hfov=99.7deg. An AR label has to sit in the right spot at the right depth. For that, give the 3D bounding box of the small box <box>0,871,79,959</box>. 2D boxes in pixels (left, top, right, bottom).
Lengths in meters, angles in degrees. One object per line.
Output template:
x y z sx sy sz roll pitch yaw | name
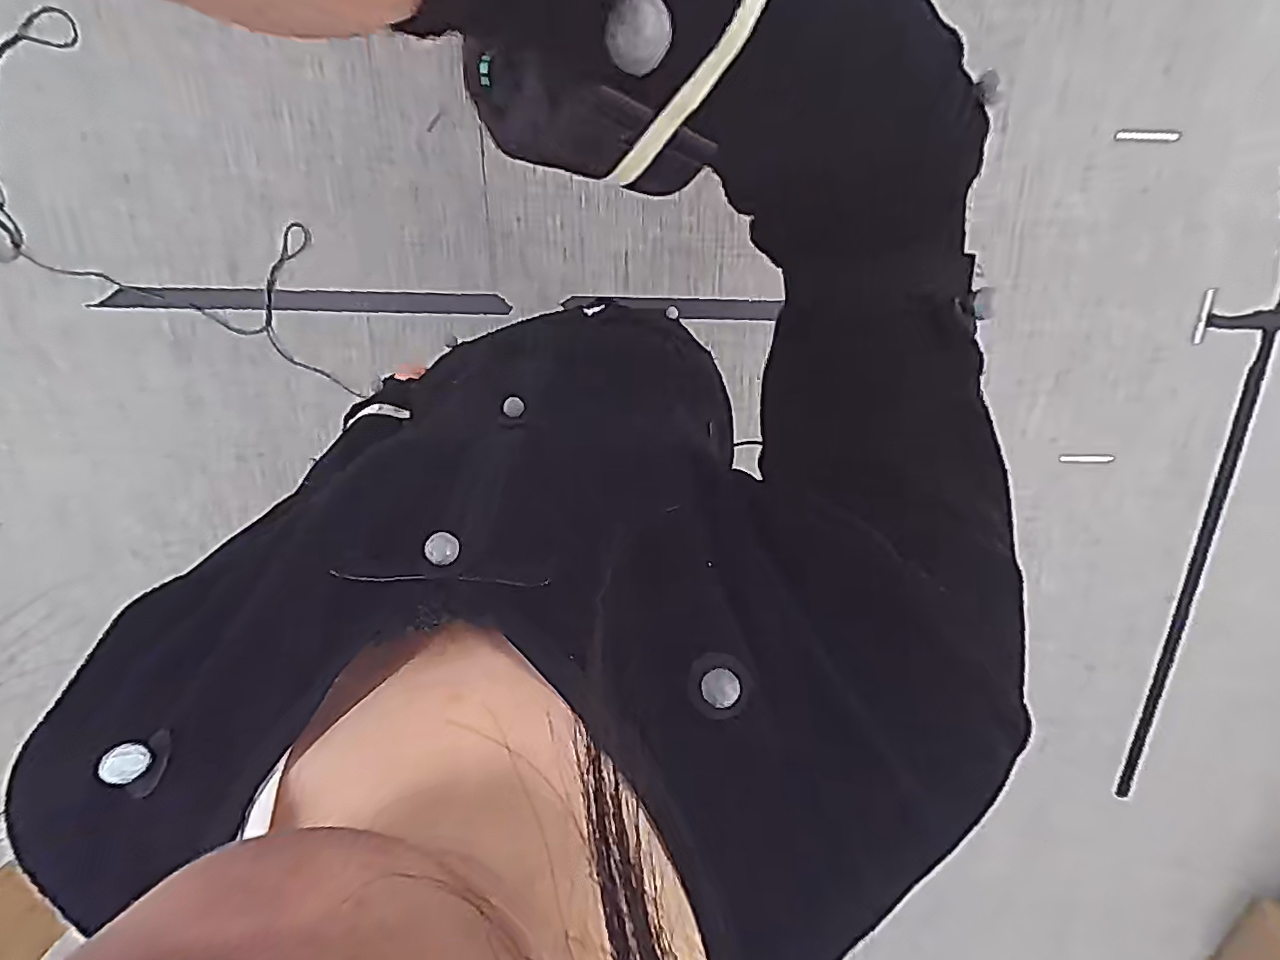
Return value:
-1.210 0.858 0.978 0.168 0.176 0.179 -39 103 9 | small box
